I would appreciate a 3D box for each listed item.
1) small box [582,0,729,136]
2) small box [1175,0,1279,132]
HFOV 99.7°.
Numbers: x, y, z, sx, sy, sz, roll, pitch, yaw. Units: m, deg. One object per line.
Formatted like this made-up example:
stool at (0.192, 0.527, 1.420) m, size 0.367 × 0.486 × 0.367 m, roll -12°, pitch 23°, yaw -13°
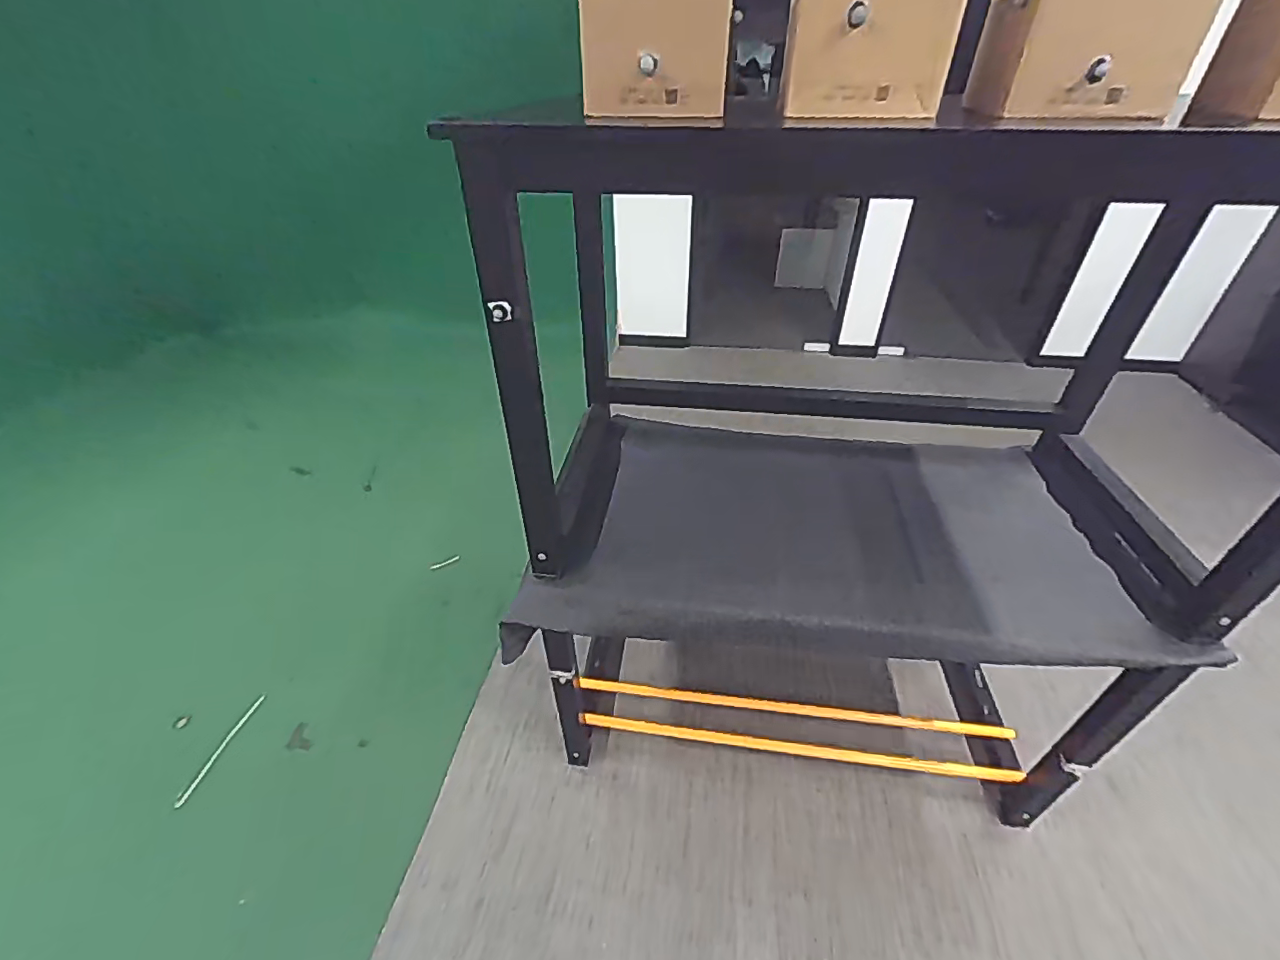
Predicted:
small box at (0.023, -0.537, 0.672) m, size 0.168 × 0.176 × 0.179 m, roll 4°, pitch 38°, yaw 5°
small box at (0.735, -0.466, 0.568) m, size 0.168 × 0.176 × 0.179 m, roll 12°, pitch 38°, yaw 15°
